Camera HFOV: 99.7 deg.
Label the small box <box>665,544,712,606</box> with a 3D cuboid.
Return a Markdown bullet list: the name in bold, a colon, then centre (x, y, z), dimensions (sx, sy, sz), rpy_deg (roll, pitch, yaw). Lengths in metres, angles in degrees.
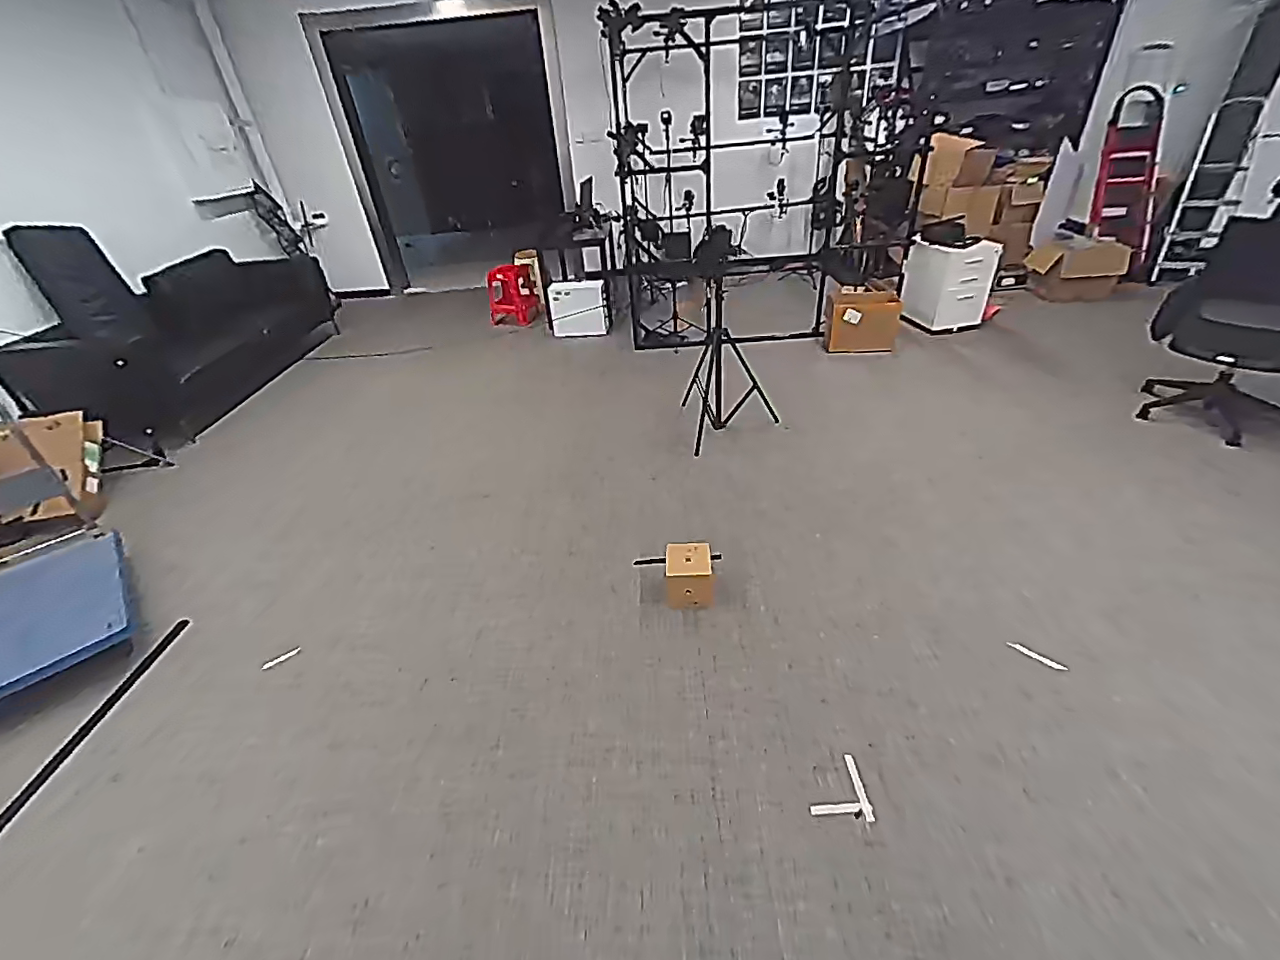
- **small box**: centre (0.185, 0.364, 2.053), dimensions (0.168, 0.176, 0.179), rpy_deg (-2, 34, 5)
